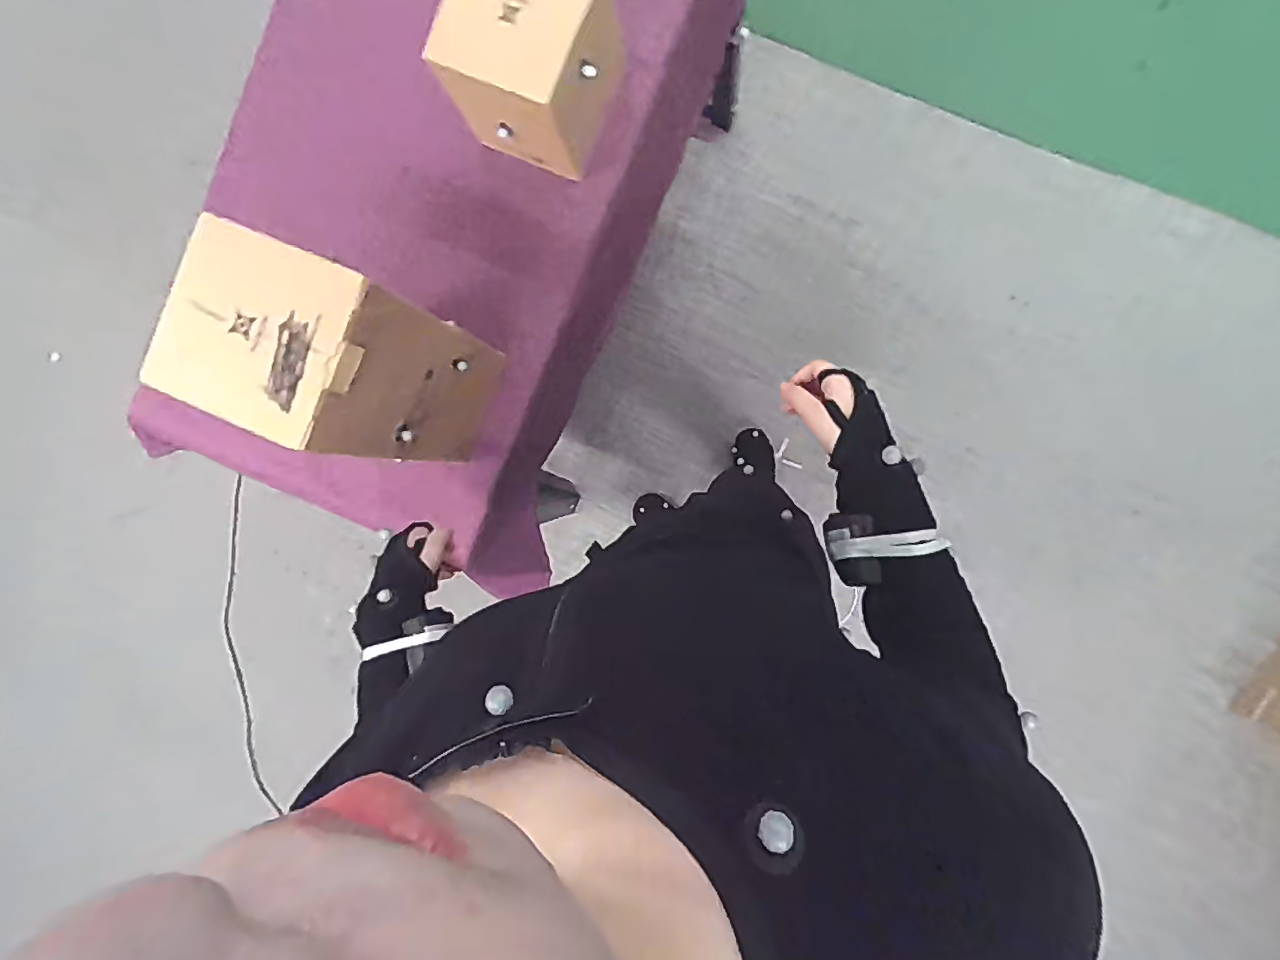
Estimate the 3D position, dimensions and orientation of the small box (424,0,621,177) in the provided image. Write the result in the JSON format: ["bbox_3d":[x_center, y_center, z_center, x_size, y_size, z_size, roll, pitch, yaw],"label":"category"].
[{"bbox_3d":[-0.136,-0.533,0.695,0.168,0.176,0.179,25,93,5],"label":"small box"}]

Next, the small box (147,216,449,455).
[{"bbox_3d":[-0.330,-0.132,0.559,0.179,0.176,0.168,23,92,7],"label":"small box"}]

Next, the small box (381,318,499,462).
[{"bbox_3d":[-0.311,-0.131,0.722,0.168,0.176,0.179,23,92,6],"label":"small box"}]
